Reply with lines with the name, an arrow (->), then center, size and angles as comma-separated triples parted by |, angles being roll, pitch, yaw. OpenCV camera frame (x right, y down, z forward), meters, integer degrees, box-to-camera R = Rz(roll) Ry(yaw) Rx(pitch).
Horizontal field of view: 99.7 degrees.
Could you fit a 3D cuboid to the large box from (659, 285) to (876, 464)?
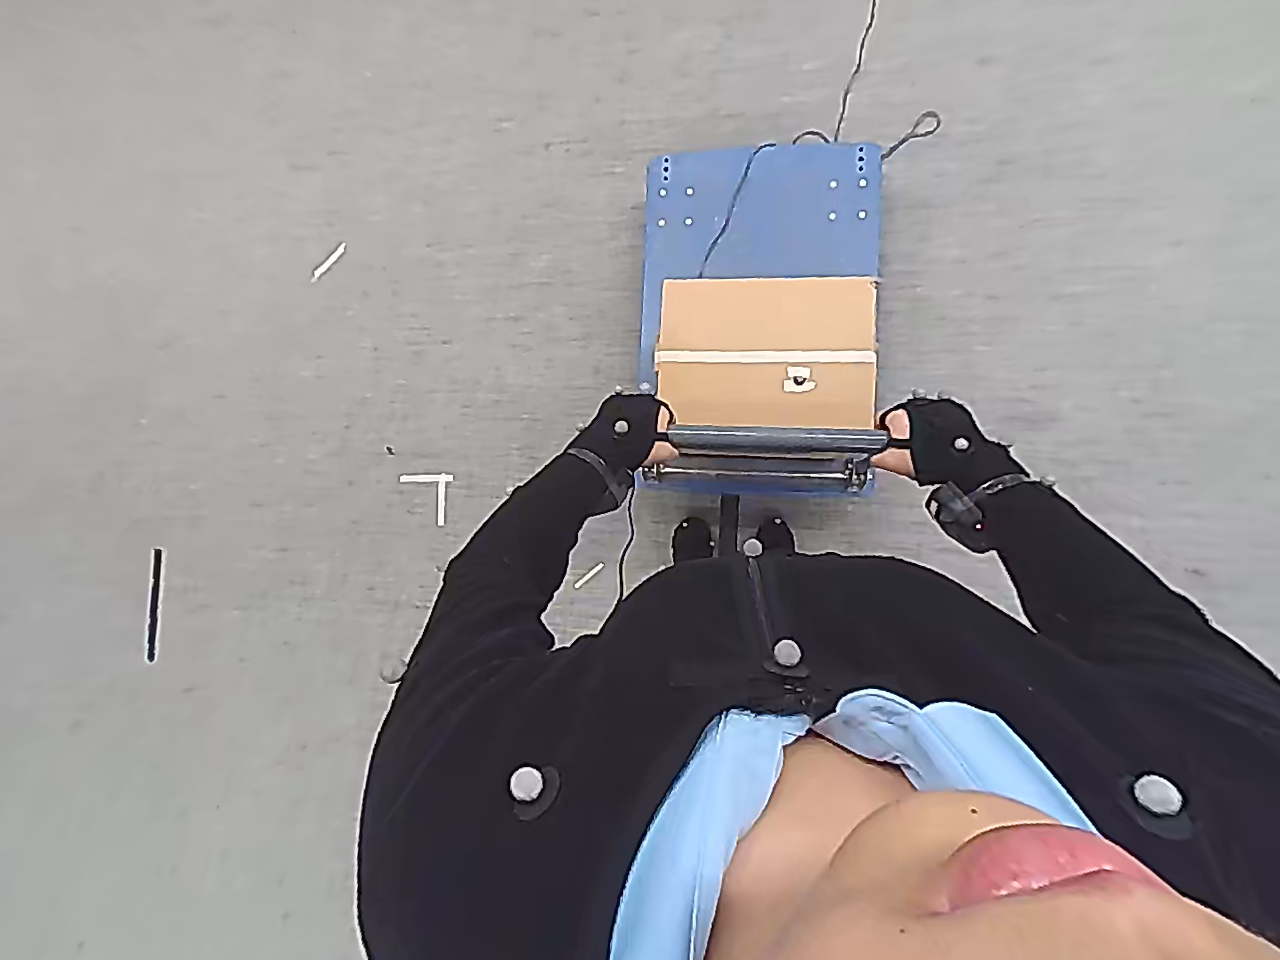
large box -> 0.255, -0.205, 1.169 | 0.408, 0.320, 0.320 | 2, 87, 8
